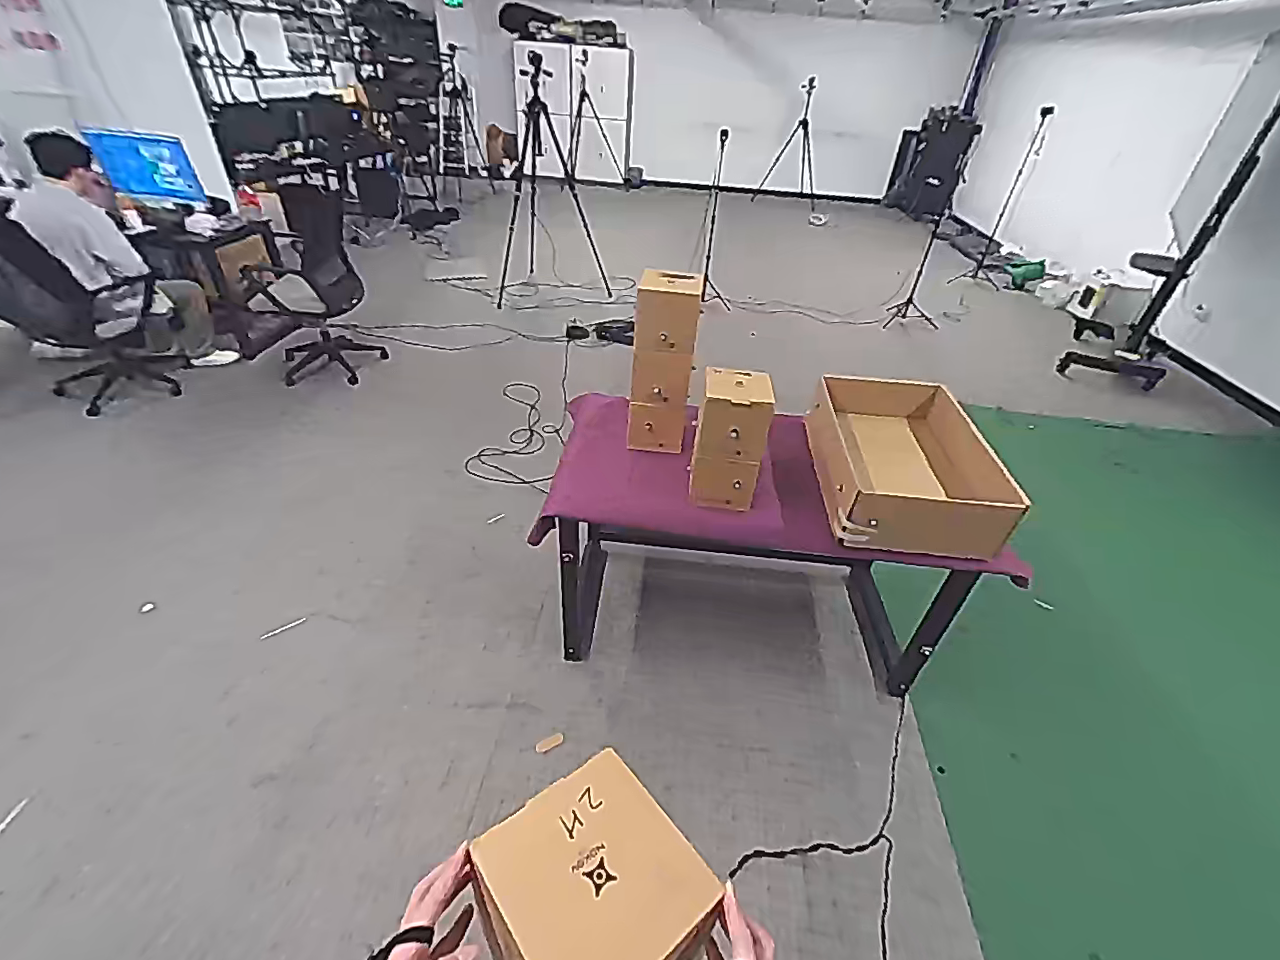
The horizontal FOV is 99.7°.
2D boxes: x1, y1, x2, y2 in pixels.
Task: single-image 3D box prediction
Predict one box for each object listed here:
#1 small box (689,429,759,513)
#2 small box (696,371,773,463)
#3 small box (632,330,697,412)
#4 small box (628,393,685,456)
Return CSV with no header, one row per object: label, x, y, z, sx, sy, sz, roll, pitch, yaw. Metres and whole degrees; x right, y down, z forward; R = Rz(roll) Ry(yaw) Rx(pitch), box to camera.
small box,0.228,-0.028,1.485,0.168,0.176,0.179,7,36,3
small box,0.239,-0.161,1.391,0.168,0.176,0.179,7,37,2
small box,0.071,-0.322,1.589,0.168,0.176,0.179,8,37,5
small box,0.054,-0.190,1.686,0.168,0.176,0.179,5,36,2
